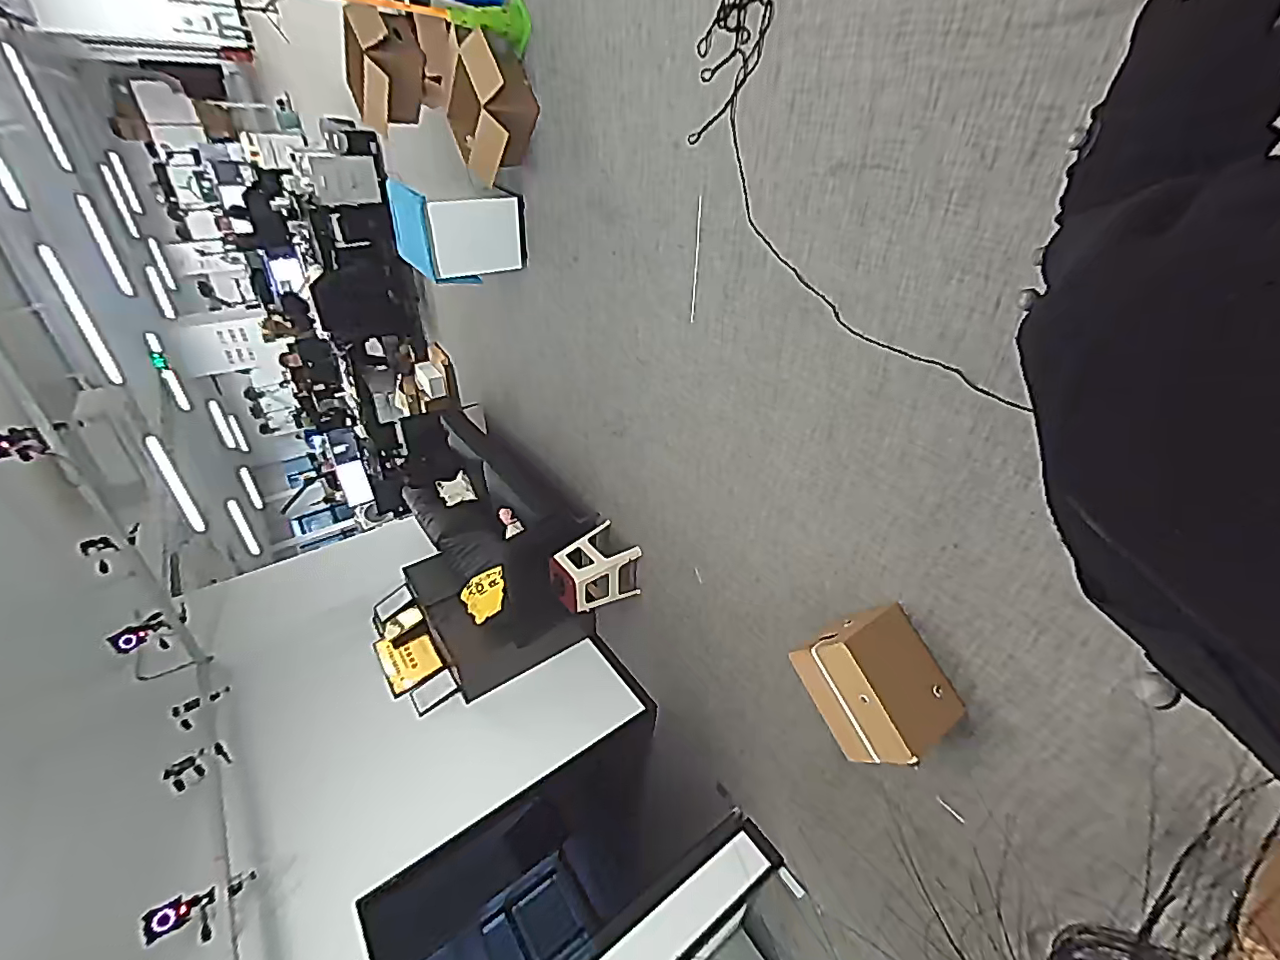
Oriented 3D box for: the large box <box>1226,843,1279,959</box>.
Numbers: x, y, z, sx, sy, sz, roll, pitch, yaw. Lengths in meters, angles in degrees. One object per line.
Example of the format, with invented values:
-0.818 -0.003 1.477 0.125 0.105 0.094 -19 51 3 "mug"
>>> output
1.466 1.047 1.057 0.408 0.320 0.320 23 128 50 "large box"
